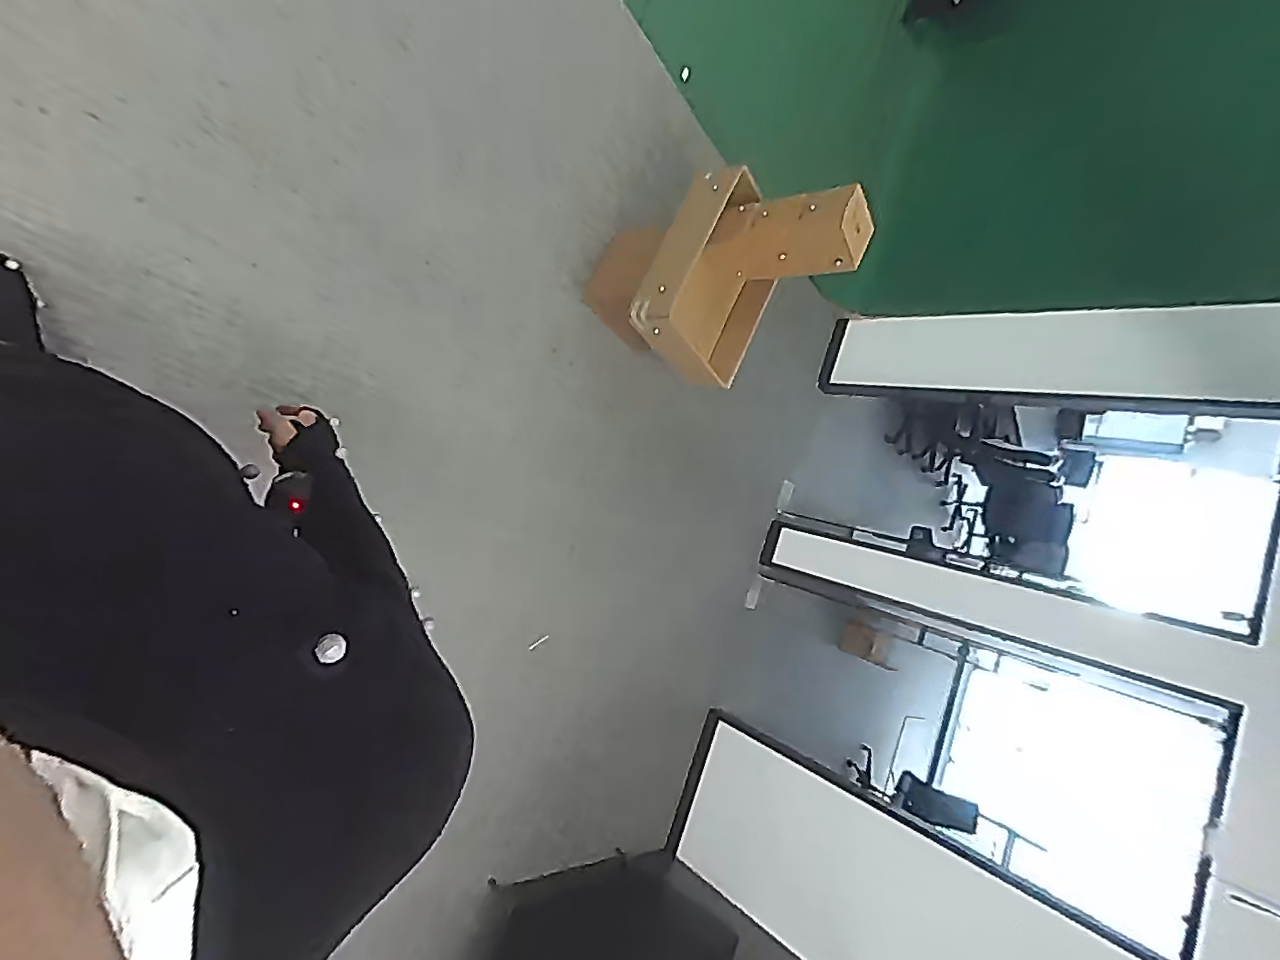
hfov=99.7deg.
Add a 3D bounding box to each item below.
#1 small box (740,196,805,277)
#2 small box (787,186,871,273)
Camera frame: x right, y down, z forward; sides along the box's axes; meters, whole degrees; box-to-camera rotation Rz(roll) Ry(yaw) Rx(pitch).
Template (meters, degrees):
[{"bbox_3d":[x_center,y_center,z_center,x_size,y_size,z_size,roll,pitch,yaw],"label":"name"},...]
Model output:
[{"bbox_3d":[0.455,-0.783,1.758,0.179,0.176,0.168,41,70,-44],"label":"small box"},{"bbox_3d":[0.577,-0.754,1.649,0.179,0.176,0.168,42,69,-44],"label":"small box"}]
